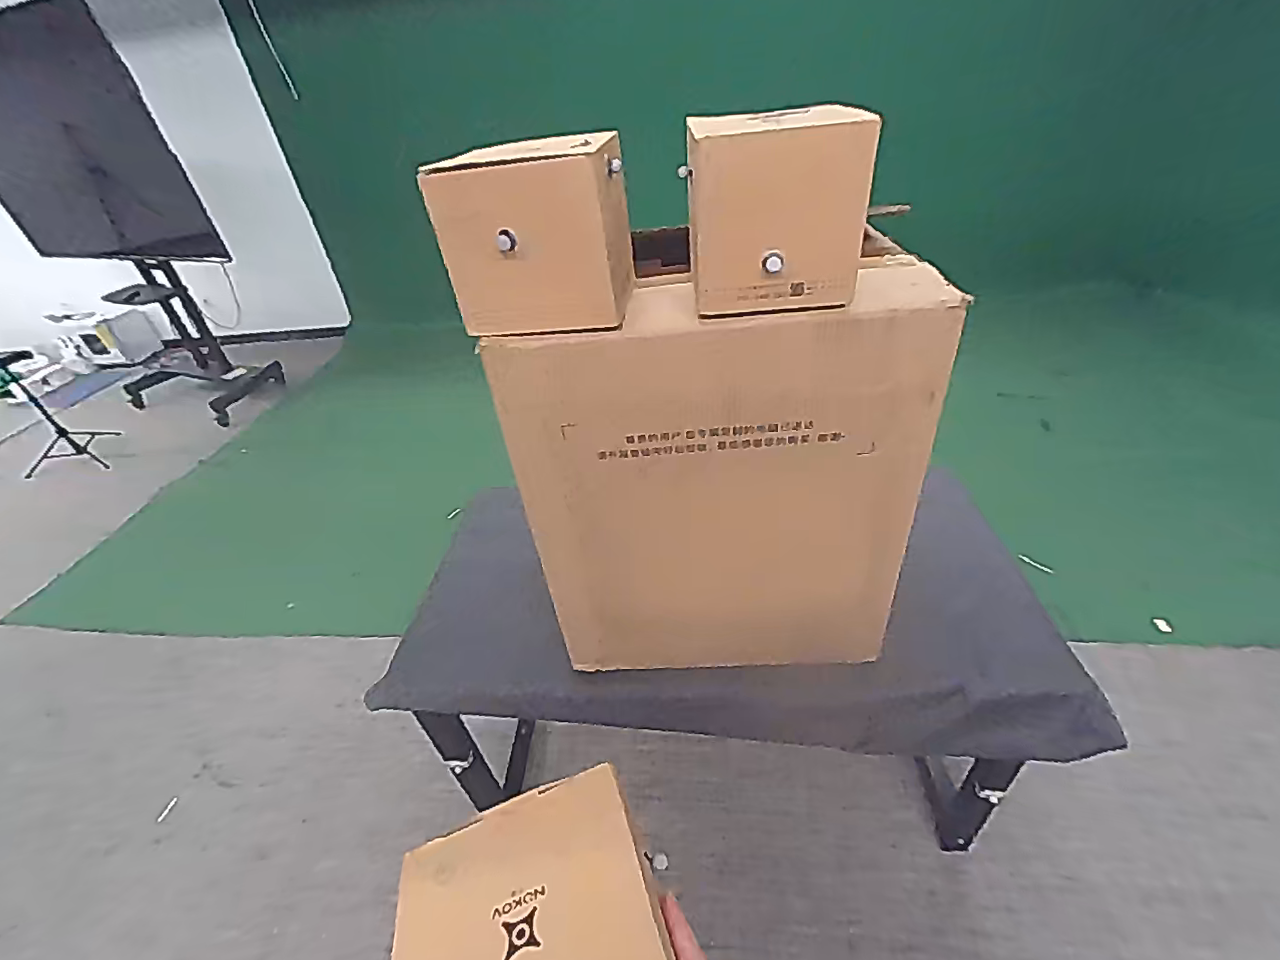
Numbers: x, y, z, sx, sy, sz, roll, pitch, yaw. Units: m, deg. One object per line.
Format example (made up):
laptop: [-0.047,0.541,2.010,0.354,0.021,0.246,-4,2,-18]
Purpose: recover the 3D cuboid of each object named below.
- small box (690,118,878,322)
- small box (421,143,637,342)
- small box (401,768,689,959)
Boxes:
small box: [0.140,-0.288,0.598,0.168,0.176,0.179,-3,38,5]
small box: [-0.108,-0.266,0.616,0.179,0.176,0.168,-2,38,9]
small box: [-0.051,0.352,0.370,0.168,0.176,0.179,-20,26,-10]
